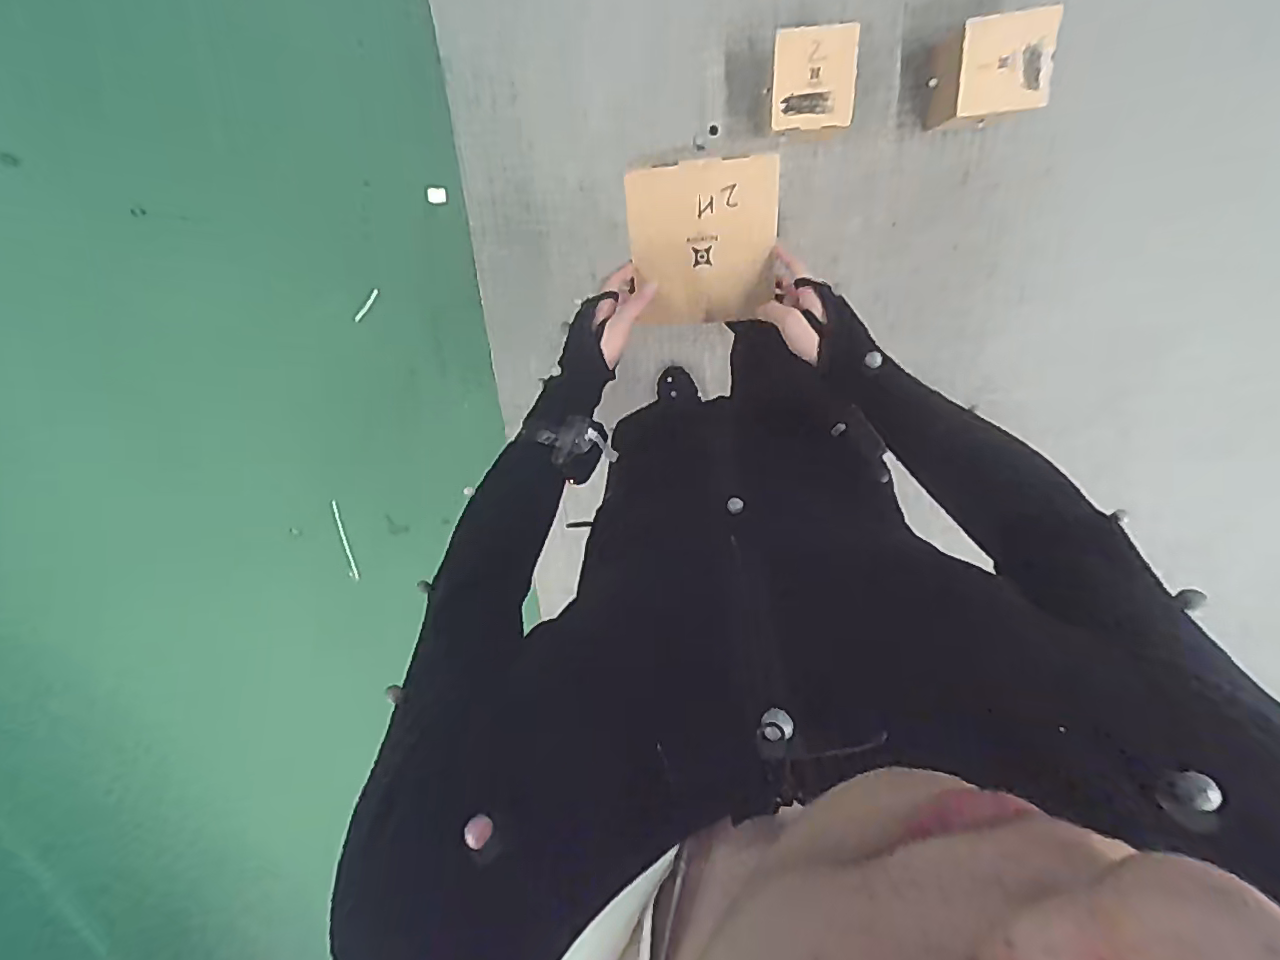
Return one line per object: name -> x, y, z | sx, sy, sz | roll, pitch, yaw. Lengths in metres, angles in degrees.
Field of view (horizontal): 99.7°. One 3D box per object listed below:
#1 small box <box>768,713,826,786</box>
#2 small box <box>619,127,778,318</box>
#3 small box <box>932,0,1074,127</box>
small box -> 0.551, 0.951, 1.921 | 0.179, 0.176, 0.168 | -2, 114, 7
small box -> 0.073, -0.316, 0.663 | 0.168, 0.176, 0.179 | -2, 126, 7
small box -> 0.735, -0.847, 1.115 | 0.179, 0.176, 0.168 | -2, 113, 8
